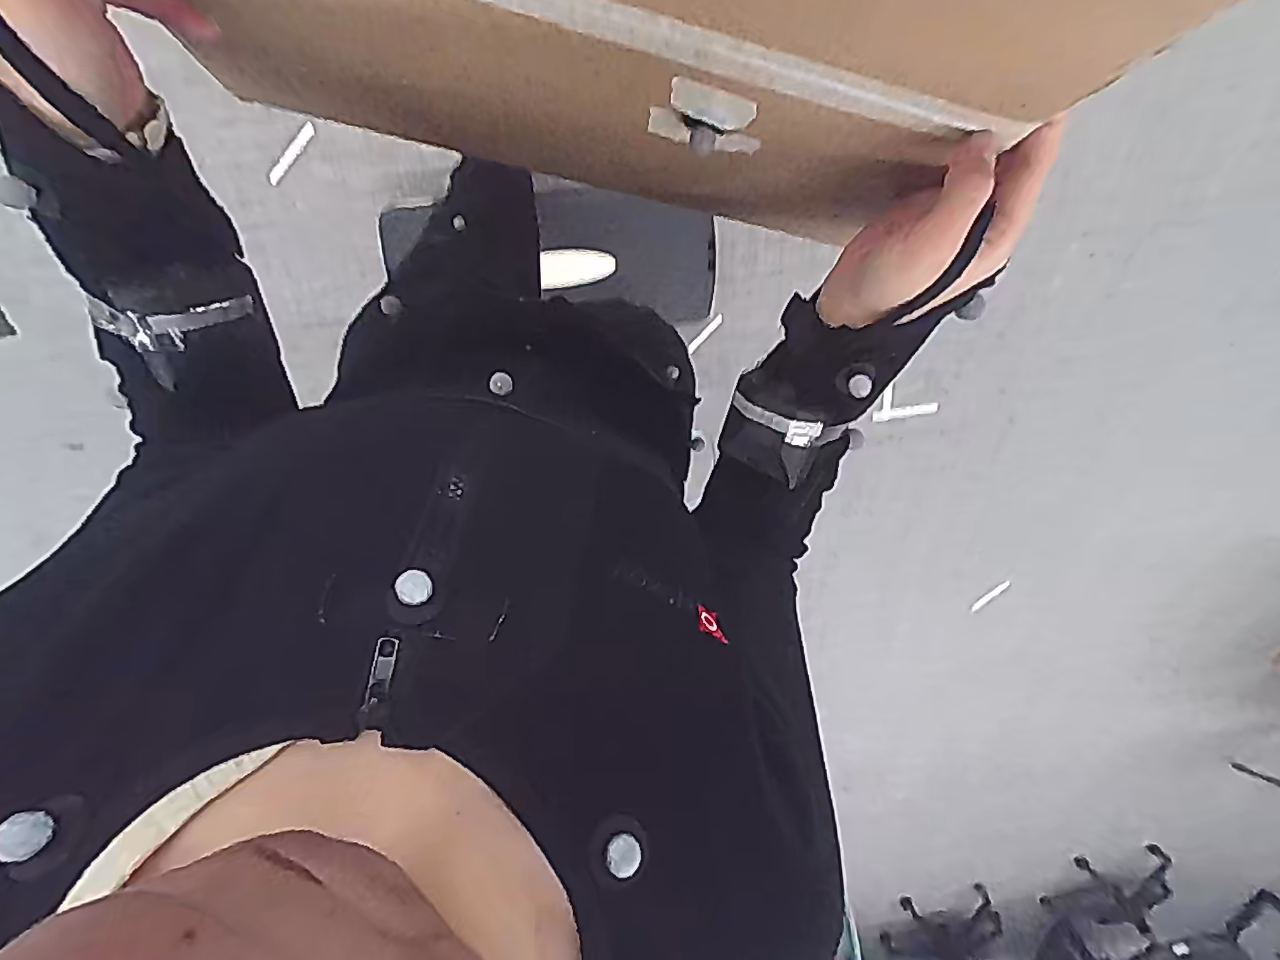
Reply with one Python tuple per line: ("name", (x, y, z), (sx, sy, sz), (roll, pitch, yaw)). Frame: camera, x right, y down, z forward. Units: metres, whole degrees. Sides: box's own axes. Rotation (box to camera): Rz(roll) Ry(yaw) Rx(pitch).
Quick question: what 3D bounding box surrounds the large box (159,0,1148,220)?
("large box", (-0.006, -0.349, 0.200), (0.408, 0.320, 0.320), (8, 95, -9))
